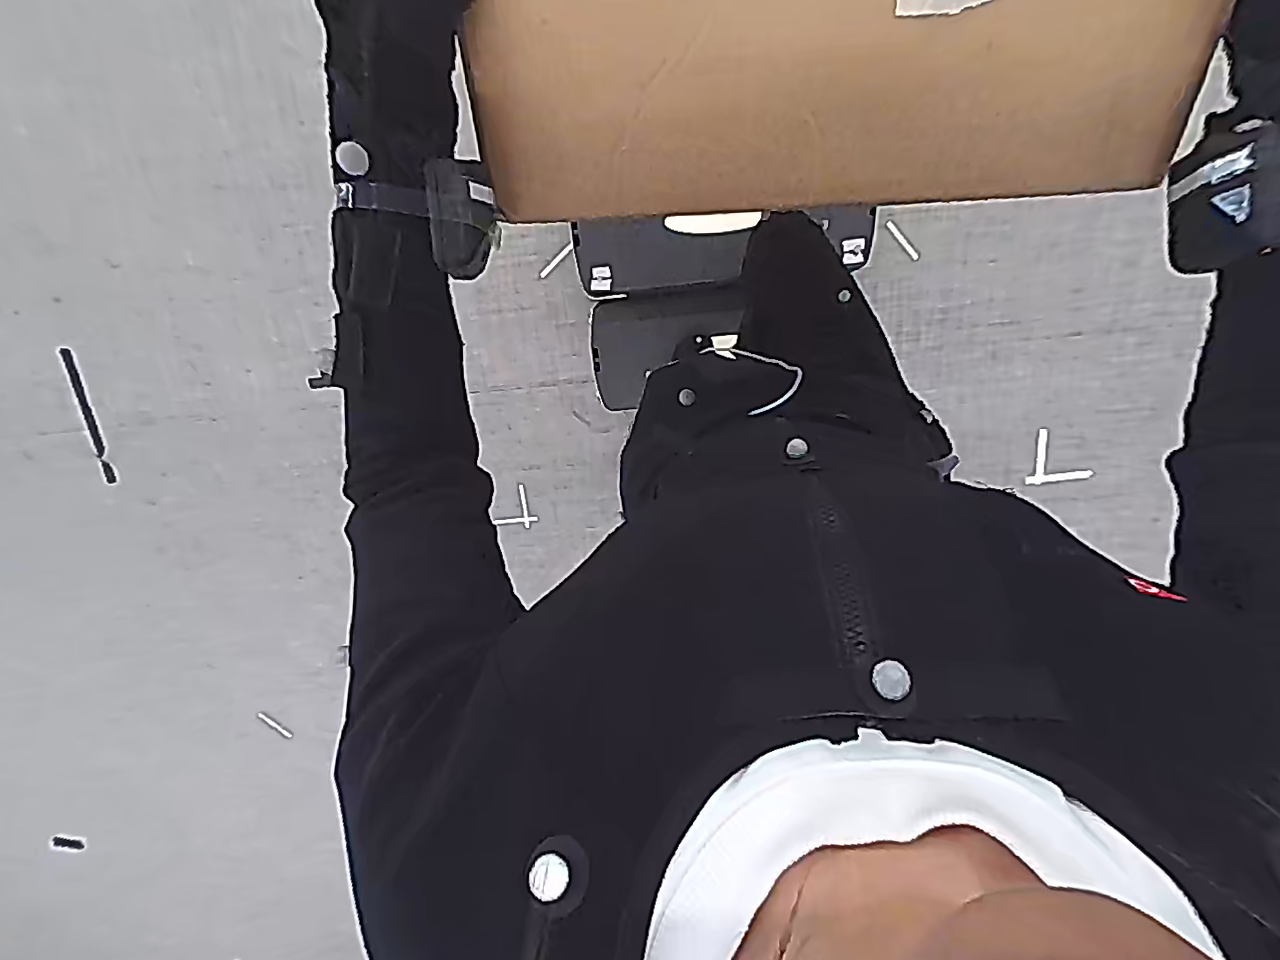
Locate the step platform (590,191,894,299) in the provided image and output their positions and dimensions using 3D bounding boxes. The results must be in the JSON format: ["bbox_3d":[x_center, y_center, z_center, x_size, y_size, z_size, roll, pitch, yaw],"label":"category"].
[{"bbox_3d":[0.223,-0.606,1.268,0.684,0.204,0.286,-5,107,4],"label":"step platform"}]

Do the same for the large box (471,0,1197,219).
[{"bbox_3d":[0.108,-0.392,0.400,0.408,0.320,0.320,0,122,7],"label":"large box"}]
